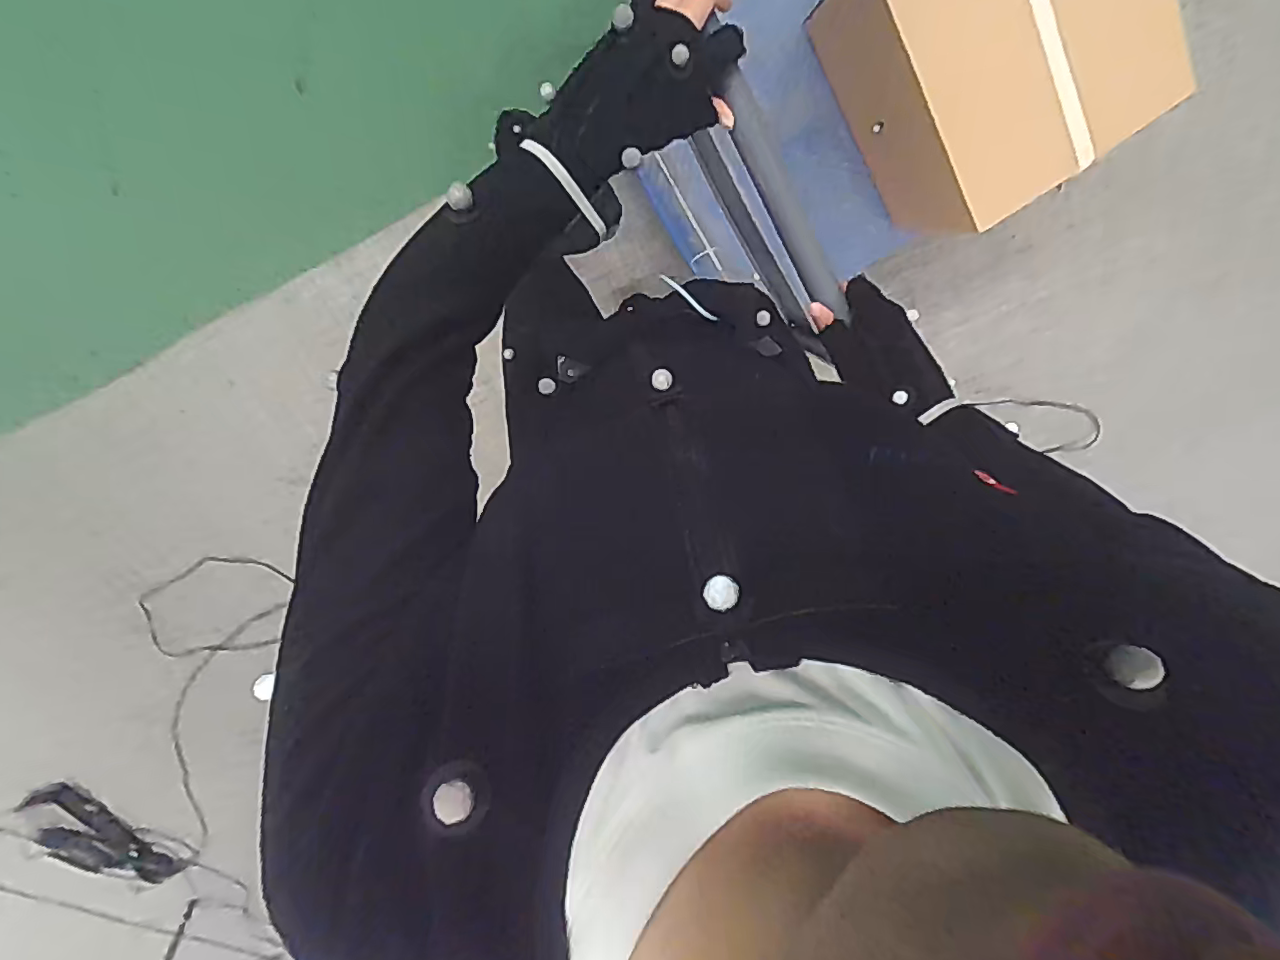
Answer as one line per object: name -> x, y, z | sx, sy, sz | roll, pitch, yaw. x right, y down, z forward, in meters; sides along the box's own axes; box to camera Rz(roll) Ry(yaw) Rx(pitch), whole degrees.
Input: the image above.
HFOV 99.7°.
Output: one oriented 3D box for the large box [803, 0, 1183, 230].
large box -> 0.517, -0.669, 0.853 | 0.320, 0.320, 0.408 | -32, 112, 15
